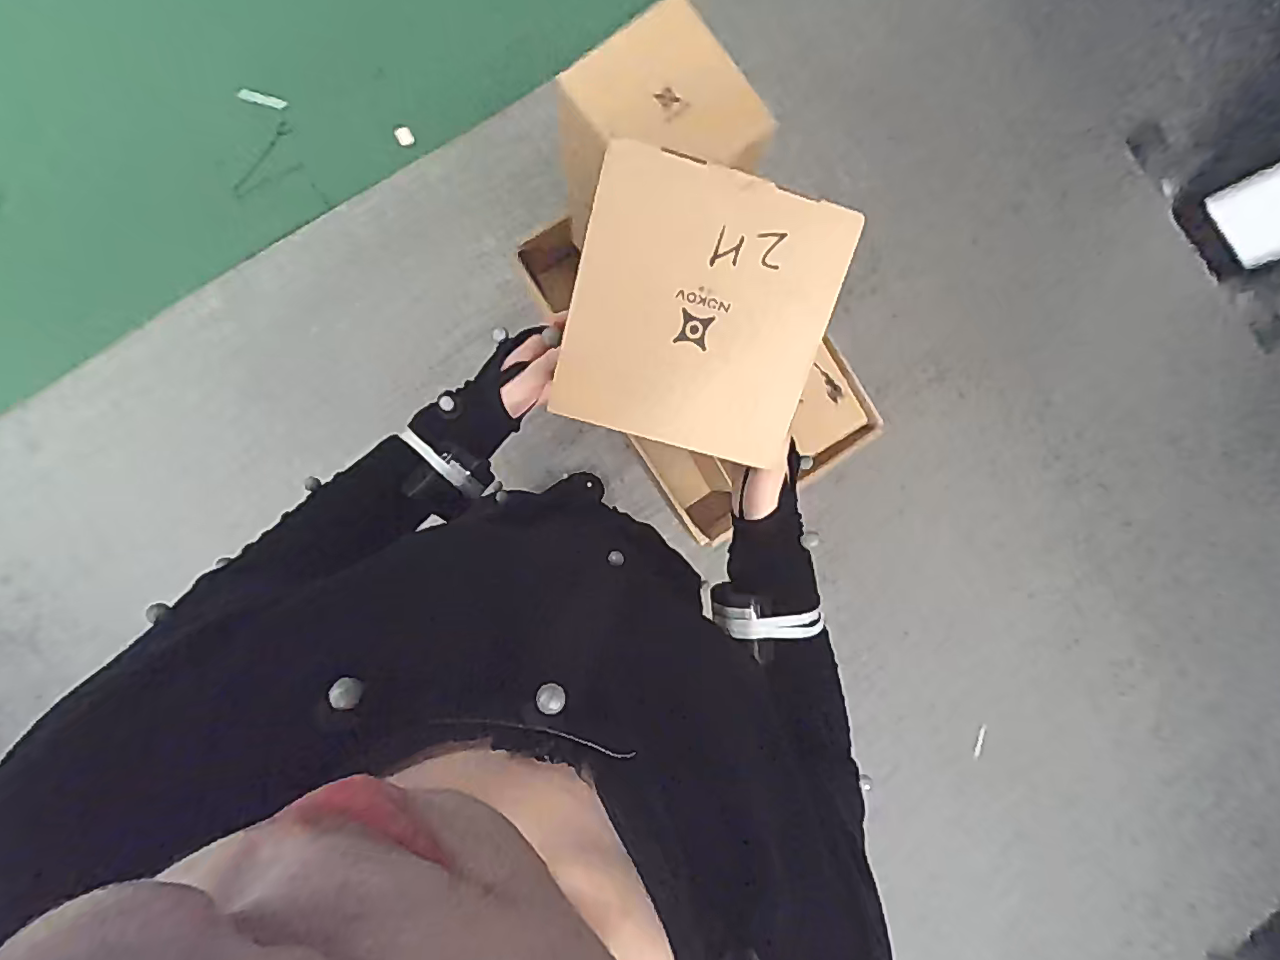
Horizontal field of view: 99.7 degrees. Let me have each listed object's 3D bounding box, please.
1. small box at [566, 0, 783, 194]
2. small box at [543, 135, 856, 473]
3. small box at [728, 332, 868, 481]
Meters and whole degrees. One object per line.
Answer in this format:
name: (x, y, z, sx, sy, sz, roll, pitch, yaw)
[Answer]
small box: (0.029, -0.395, 0.640, 0.168, 0.176, 0.179, -38, 94, -4)
small box: (0.032, -0.128, 0.424, 0.168, 0.176, 0.179, 14, 107, -7)
small box: (0.197, -0.108, 0.816, 0.179, 0.176, 0.168, -31, 93, -4)
